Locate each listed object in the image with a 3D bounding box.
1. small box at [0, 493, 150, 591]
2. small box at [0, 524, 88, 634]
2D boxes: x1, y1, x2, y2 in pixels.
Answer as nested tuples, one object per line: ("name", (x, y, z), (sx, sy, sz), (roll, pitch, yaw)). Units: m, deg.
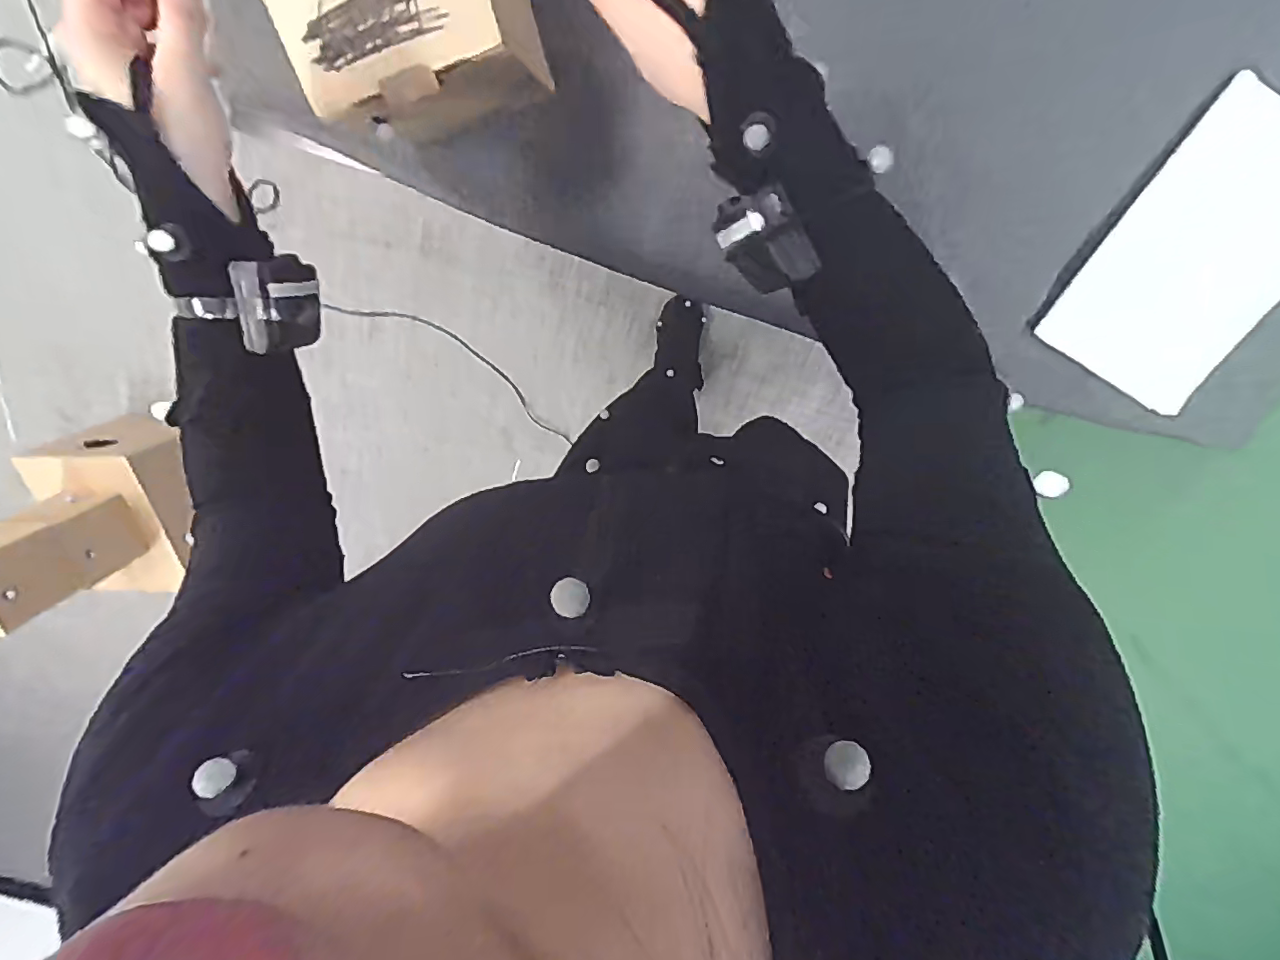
("small box", (-1.354, 0.146, 1.307), (0.168, 0.176, 0.179), (0, 115, 4))
("small box", (-1.366, 0.205, 1.155), (0.168, 0.176, 0.179), (1, 116, 4))
